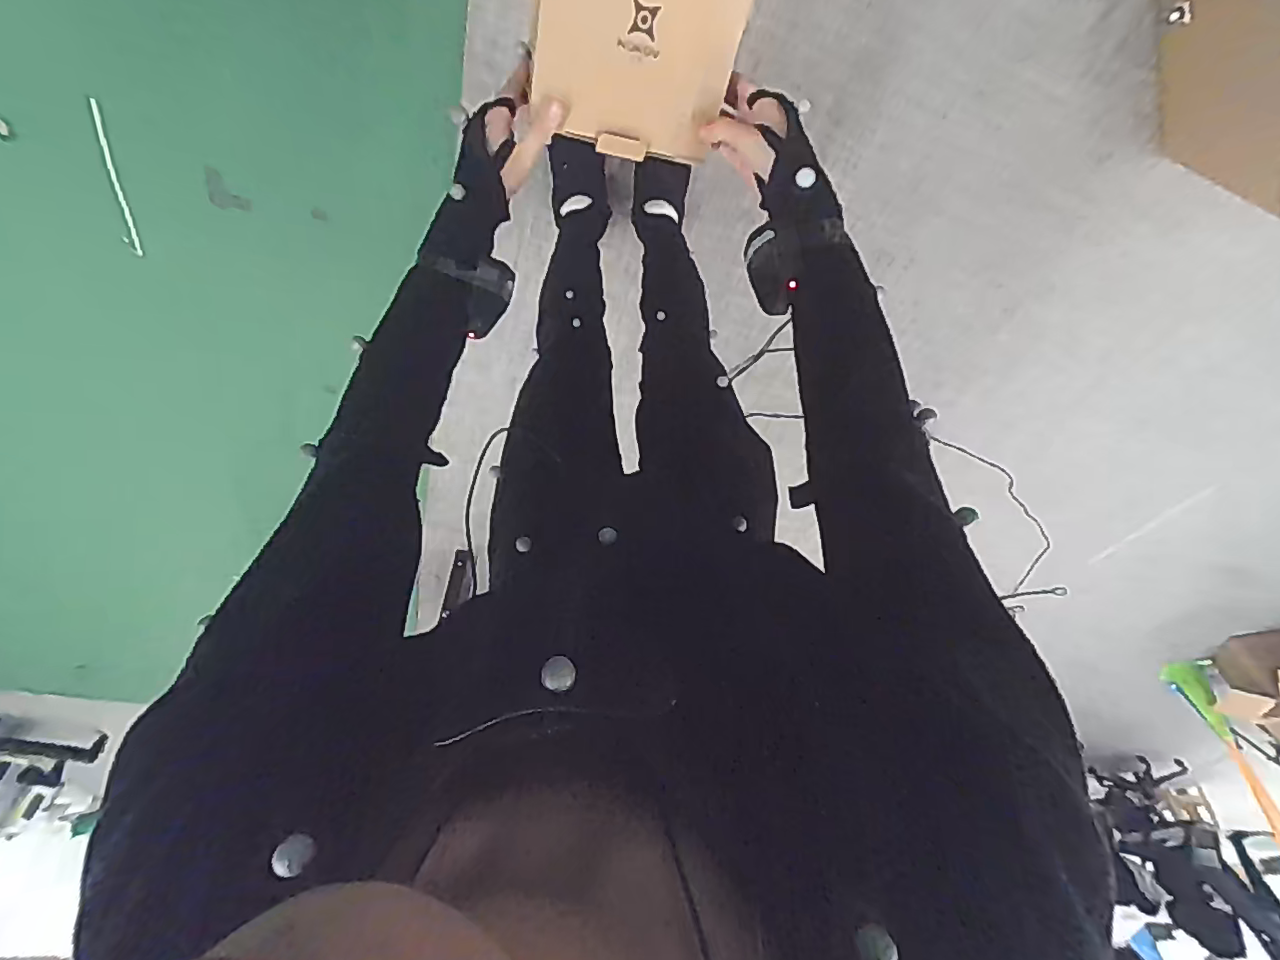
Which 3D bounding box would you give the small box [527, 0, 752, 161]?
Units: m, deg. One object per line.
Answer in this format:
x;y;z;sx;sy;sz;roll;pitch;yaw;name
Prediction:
-0.009;-0.421;0.484;0.168;0.176;0.179;4;132;-16;small box
